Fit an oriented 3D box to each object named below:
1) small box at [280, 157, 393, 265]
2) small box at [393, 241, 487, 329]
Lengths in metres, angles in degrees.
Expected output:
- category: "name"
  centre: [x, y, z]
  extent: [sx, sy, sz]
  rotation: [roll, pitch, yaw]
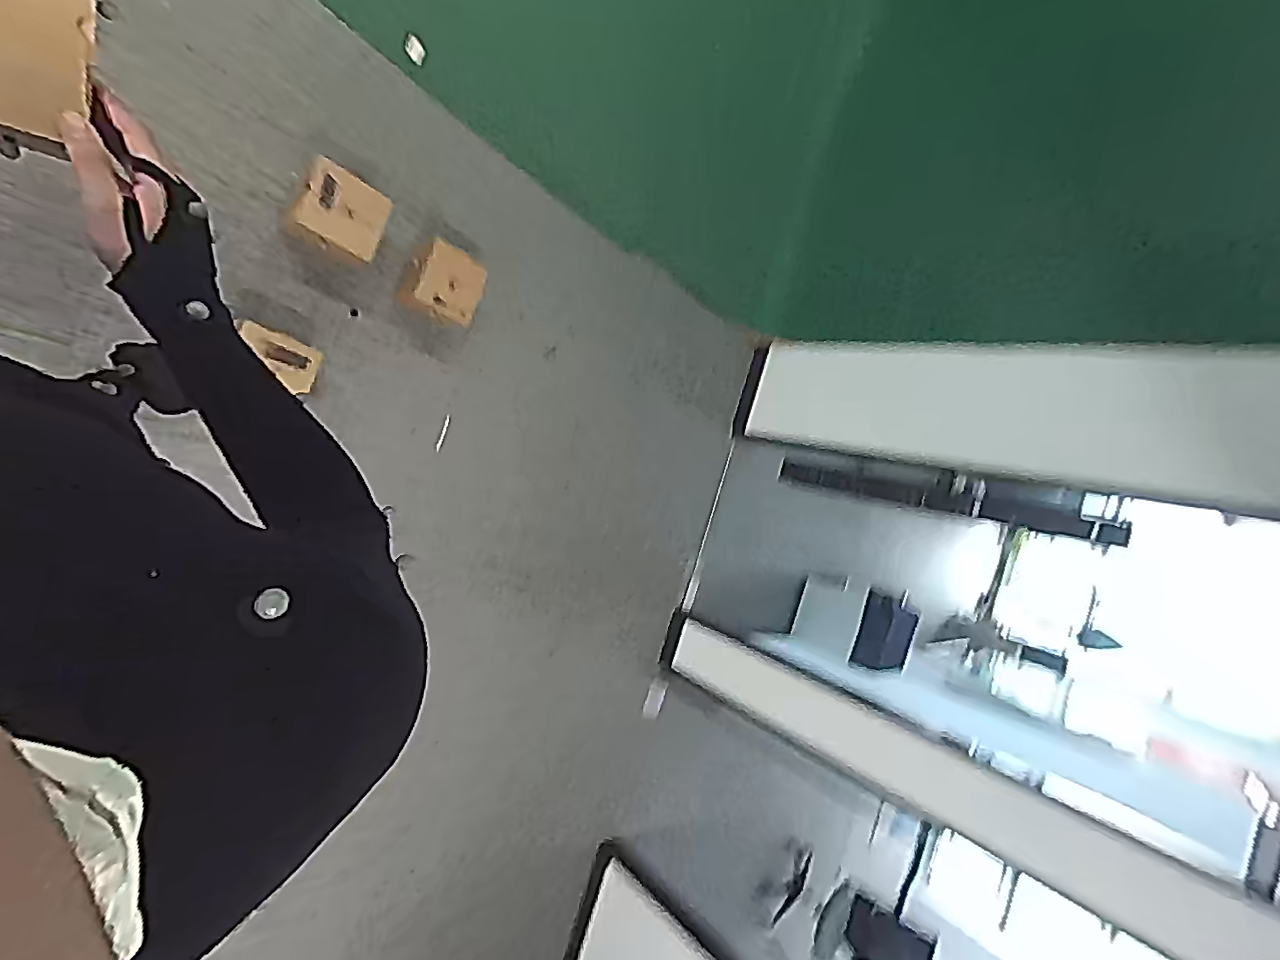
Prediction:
- category: "small box"
  centre: [-0.748, -0.645, 1.326]
  extent: [0.179, 0.176, 0.168]
  rotation: [24, 84, -47]
- category: "small box"
  centre: [-0.570, -0.545, 1.532]
  extent: [0.168, 0.176, 0.179]
  rotation: [26, 82, -46]
